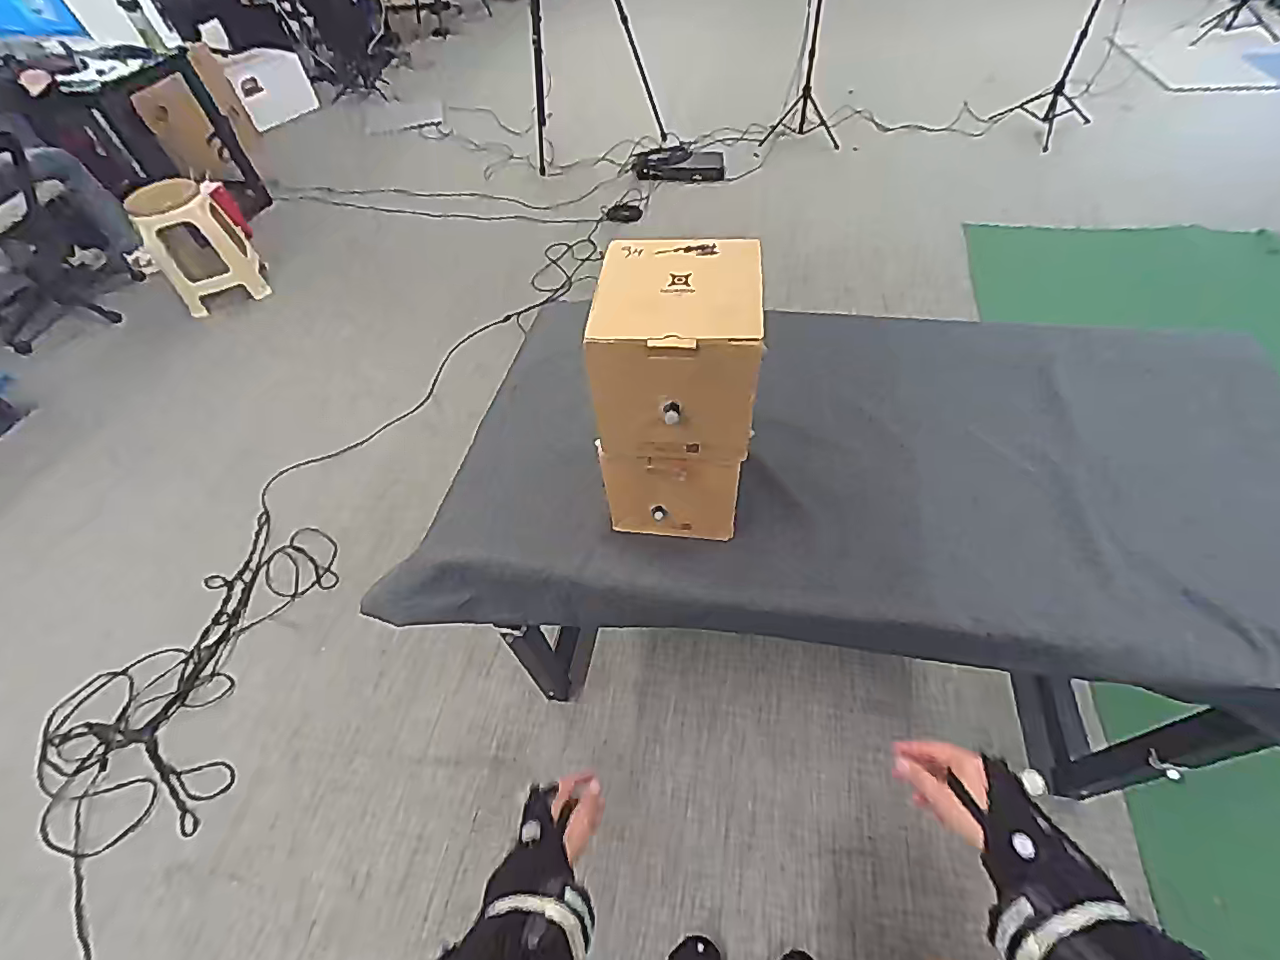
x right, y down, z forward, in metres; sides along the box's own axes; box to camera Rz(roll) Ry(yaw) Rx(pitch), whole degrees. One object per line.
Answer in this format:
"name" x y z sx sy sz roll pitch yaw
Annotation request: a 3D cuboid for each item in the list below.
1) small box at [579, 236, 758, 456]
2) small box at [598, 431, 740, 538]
"small box" 0.040 -0.143 0.595 0.168 0.176 0.179 3 54 7
"small box" 0.047 -0.045 0.726 0.168 0.176 0.179 4 53 8
